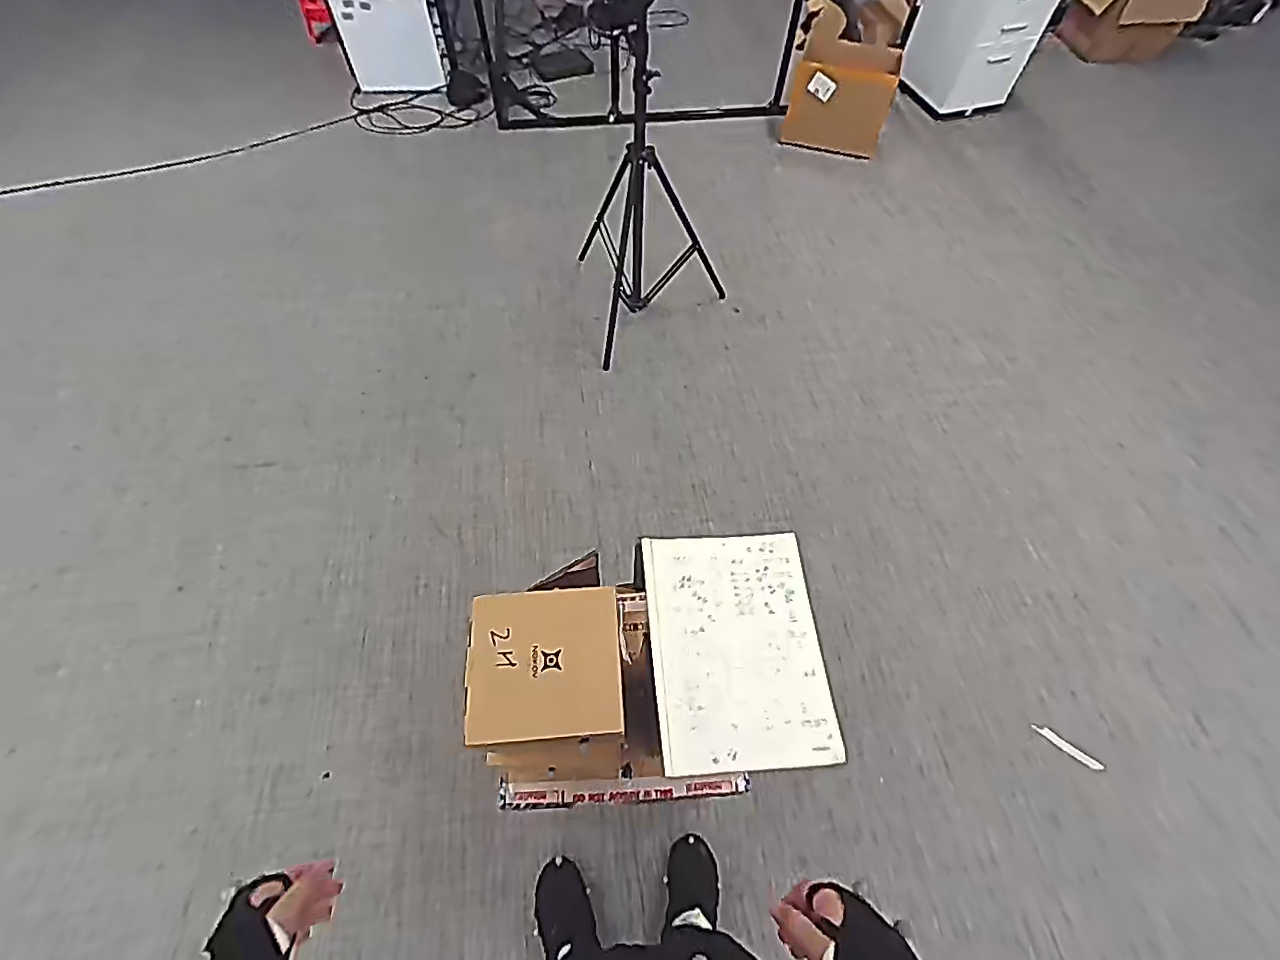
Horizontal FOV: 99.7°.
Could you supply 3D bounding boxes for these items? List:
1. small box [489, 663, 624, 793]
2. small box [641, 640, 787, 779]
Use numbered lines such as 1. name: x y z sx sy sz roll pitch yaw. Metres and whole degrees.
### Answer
1. small box: -0.113 0.377 0.819 0.179 0.176 0.168 0 61 0
2. small box: 0.102 0.358 0.838 0.179 0.176 0.168 -6 61 -7
